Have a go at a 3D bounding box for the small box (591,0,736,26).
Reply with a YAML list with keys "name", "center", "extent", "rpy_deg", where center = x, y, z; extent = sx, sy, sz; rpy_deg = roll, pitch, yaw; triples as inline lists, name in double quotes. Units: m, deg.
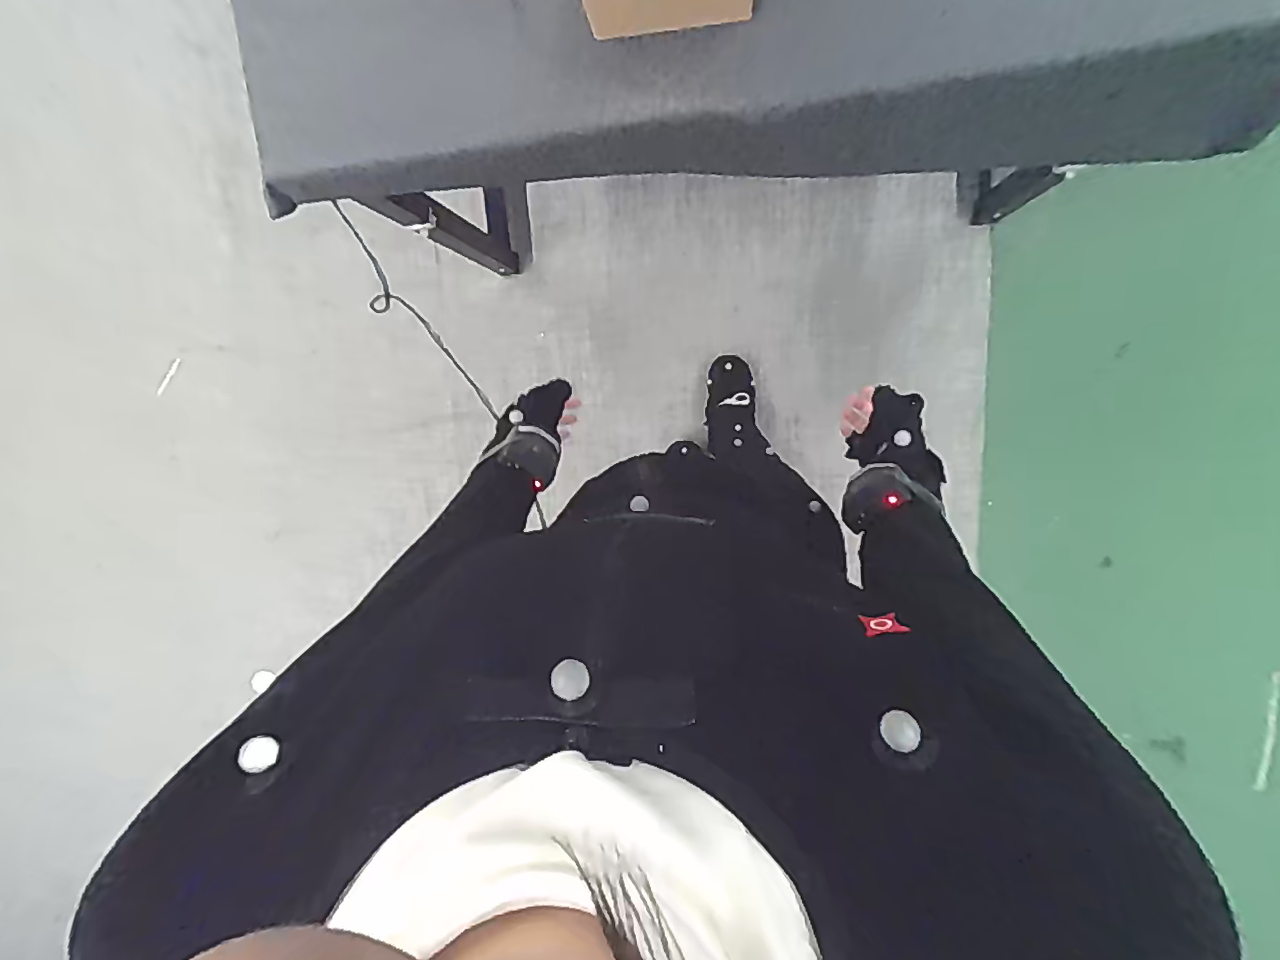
- name: "small box"
  center: [0.024, -0.576, 0.507]
  extent: [0.179, 0.176, 0.168]
  rpy_deg: [-1, 99, 10]
